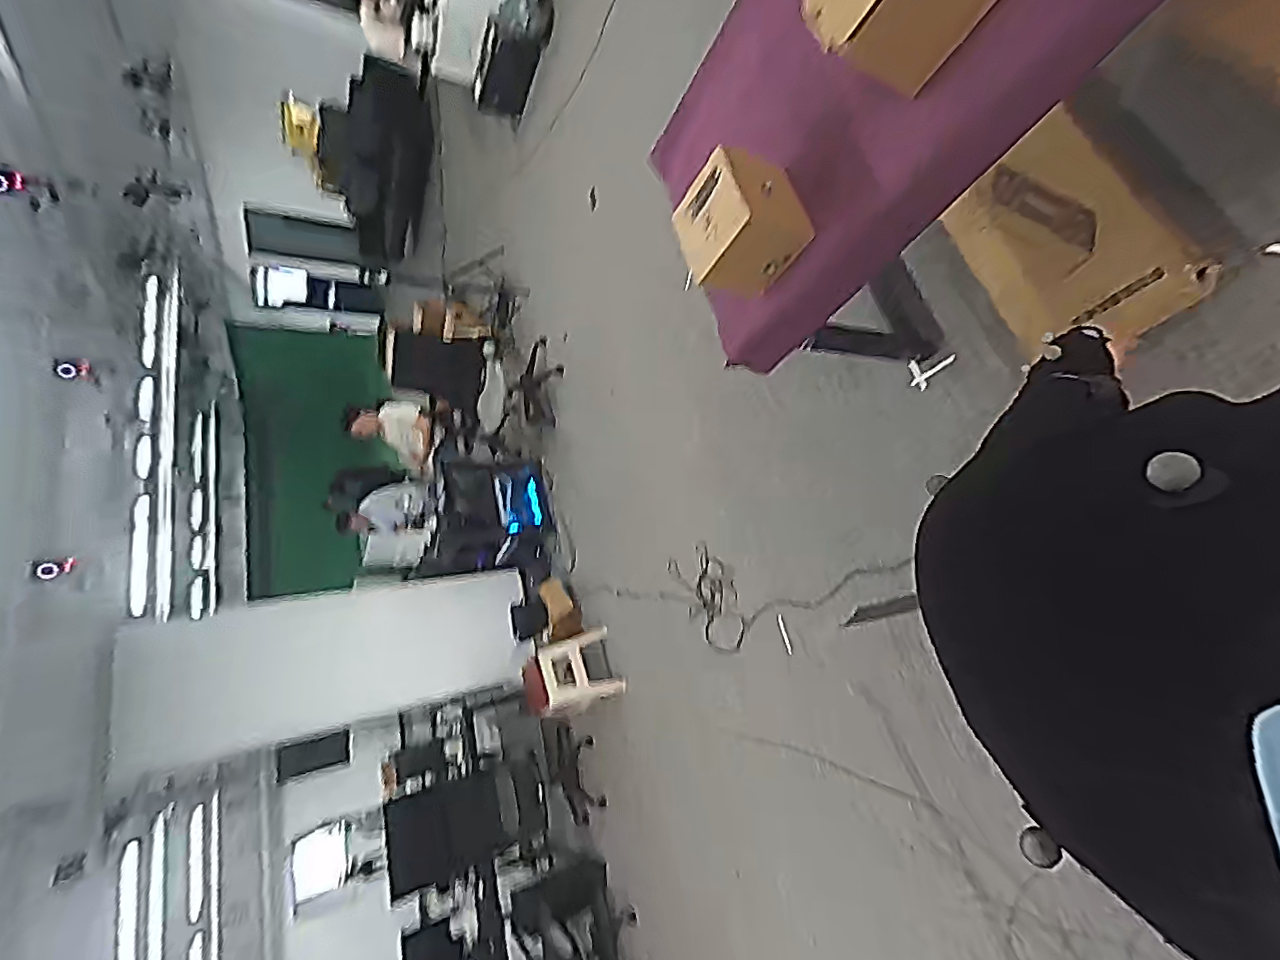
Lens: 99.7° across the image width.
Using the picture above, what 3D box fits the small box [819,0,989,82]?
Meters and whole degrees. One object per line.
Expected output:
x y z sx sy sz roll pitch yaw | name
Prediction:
0.361 -0.690 0.720 0.179 0.176 0.168 -43 55 51 | small box
